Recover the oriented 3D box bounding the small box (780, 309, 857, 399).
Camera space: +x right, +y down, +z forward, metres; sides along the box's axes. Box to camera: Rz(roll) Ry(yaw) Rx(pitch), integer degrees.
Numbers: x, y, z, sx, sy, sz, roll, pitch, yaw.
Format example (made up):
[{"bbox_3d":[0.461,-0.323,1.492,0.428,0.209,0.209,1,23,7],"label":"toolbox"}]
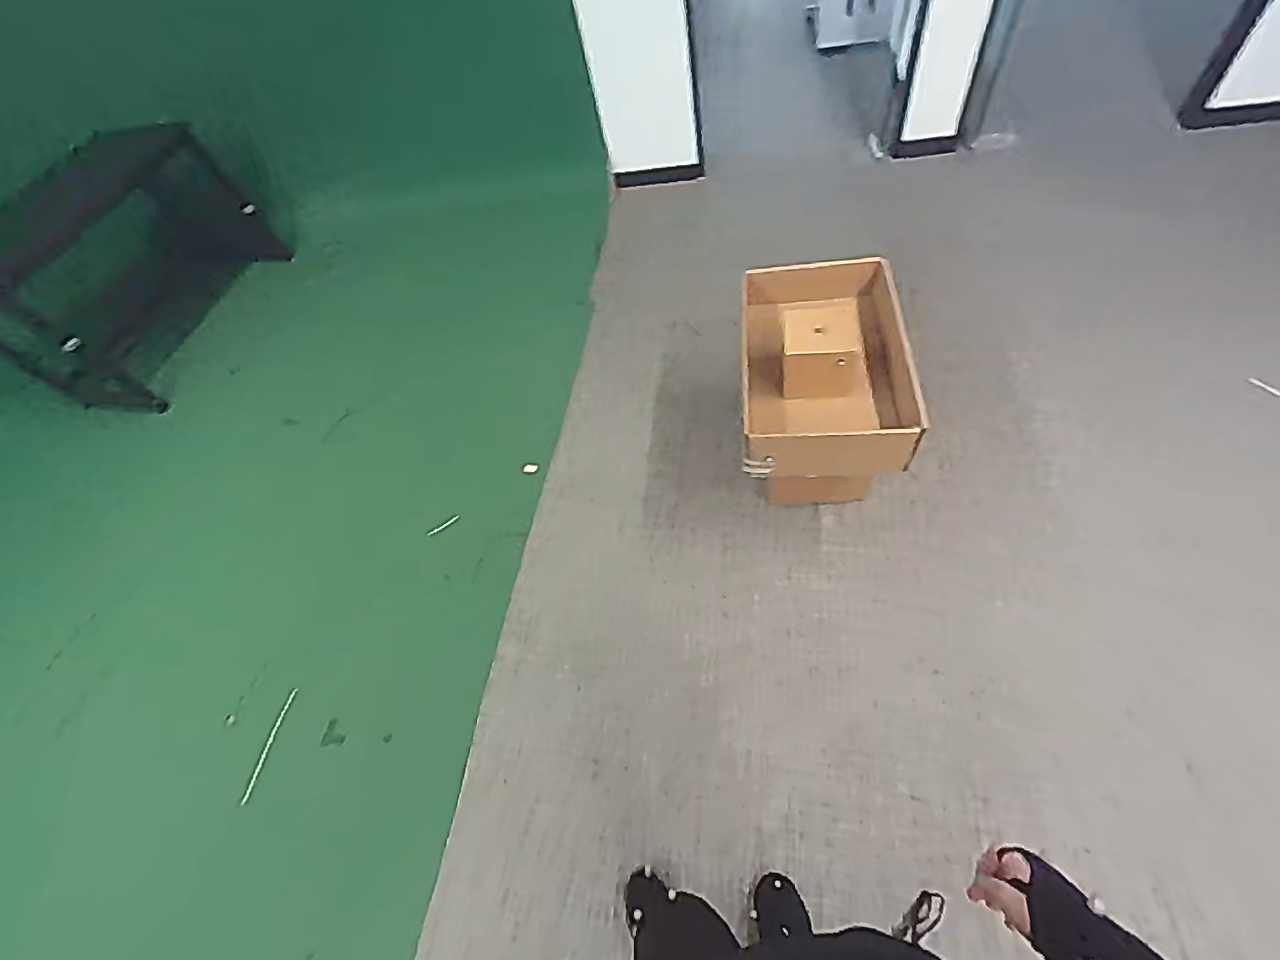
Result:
[{"bbox_3d":[0.462,-0.327,1.426,0.179,0.176,0.168,-1,57,11],"label":"small box"}]
